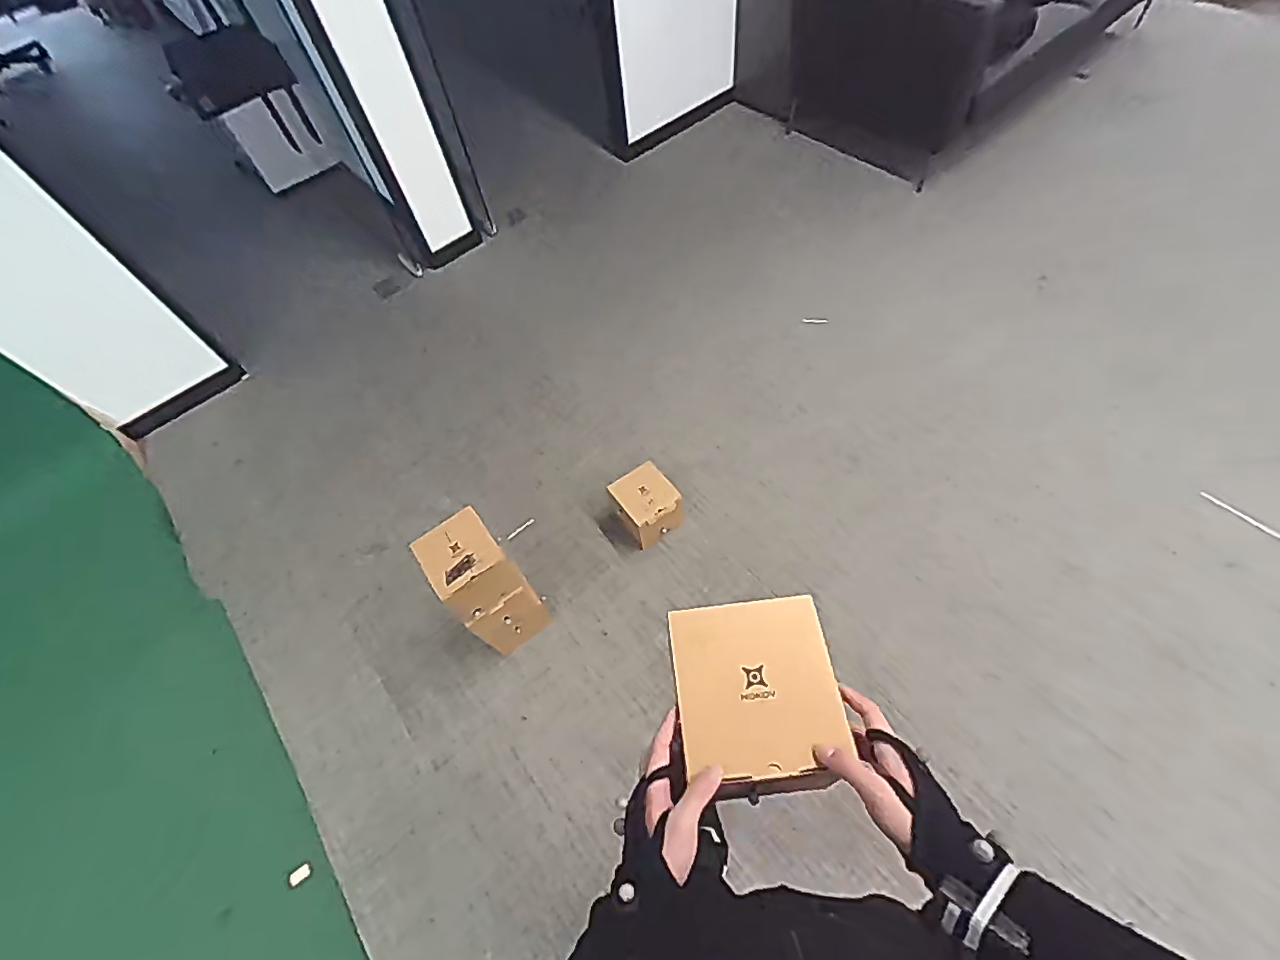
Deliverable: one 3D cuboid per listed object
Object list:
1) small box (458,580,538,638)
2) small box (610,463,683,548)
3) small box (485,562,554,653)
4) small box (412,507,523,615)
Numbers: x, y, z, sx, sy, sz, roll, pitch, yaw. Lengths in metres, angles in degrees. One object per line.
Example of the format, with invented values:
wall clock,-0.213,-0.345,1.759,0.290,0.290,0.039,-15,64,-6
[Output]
small box,-0.392,0.297,1.429,0.168,0.176,0.179,-33,63,-14
small box,0.022,0.083,1.703,0.168,0.176,0.179,-28,61,-9
small box,-0.376,0.376,1.571,0.179,0.176,0.168,-33,62,-14
small box,-0.403,0.202,1.294,0.168,0.176,0.179,-34,62,-14
